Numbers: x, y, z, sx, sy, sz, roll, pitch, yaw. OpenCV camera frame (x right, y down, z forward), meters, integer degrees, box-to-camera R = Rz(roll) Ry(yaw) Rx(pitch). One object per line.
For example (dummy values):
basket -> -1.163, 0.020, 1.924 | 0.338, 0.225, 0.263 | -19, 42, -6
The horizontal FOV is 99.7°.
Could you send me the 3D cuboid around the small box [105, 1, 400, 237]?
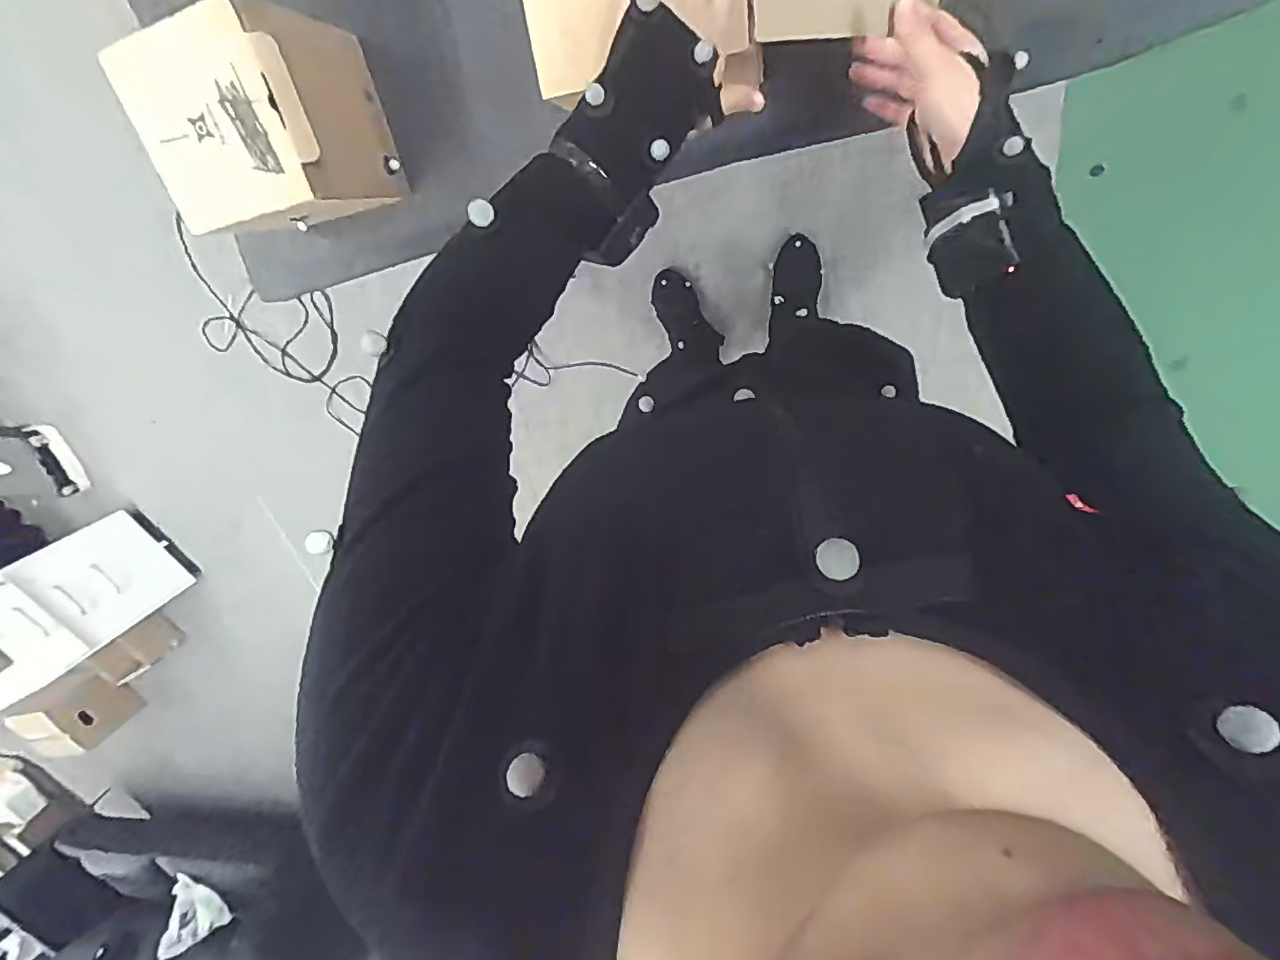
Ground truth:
small box -> -0.396, -0.378, 0.594 | 0.179, 0.176, 0.168 | -4, 117, 17
